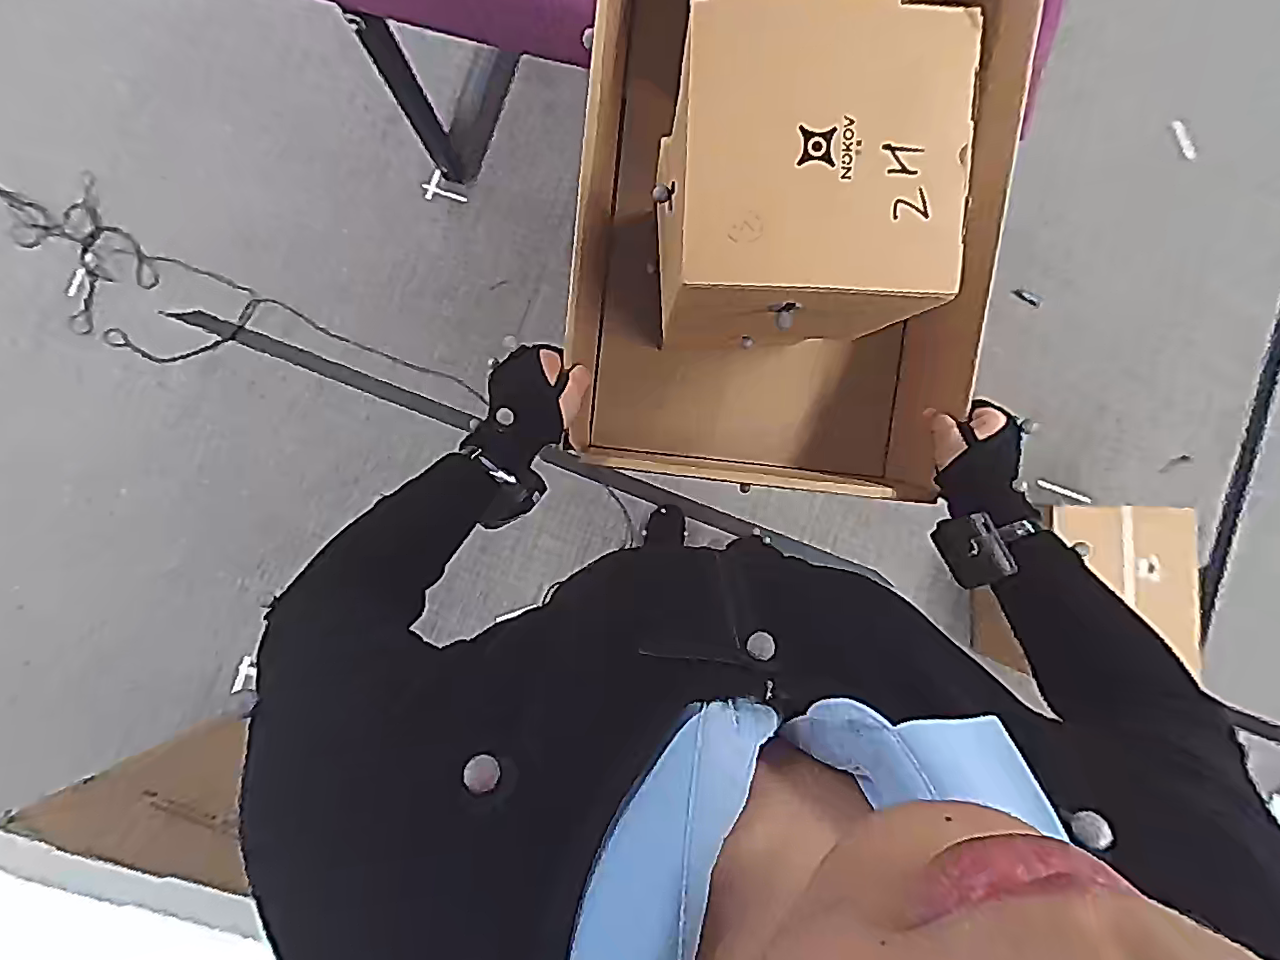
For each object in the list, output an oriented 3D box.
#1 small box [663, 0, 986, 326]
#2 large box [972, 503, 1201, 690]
[{"bbox_3d":[0.109,-0.212,0.397,0.179,0.176,0.168,2,96,-2],"label":"small box"},{"bbox_3d":[1.061,0.266,1.329,0.320,0.320,0.408,2,86,0],"label":"large box"}]
